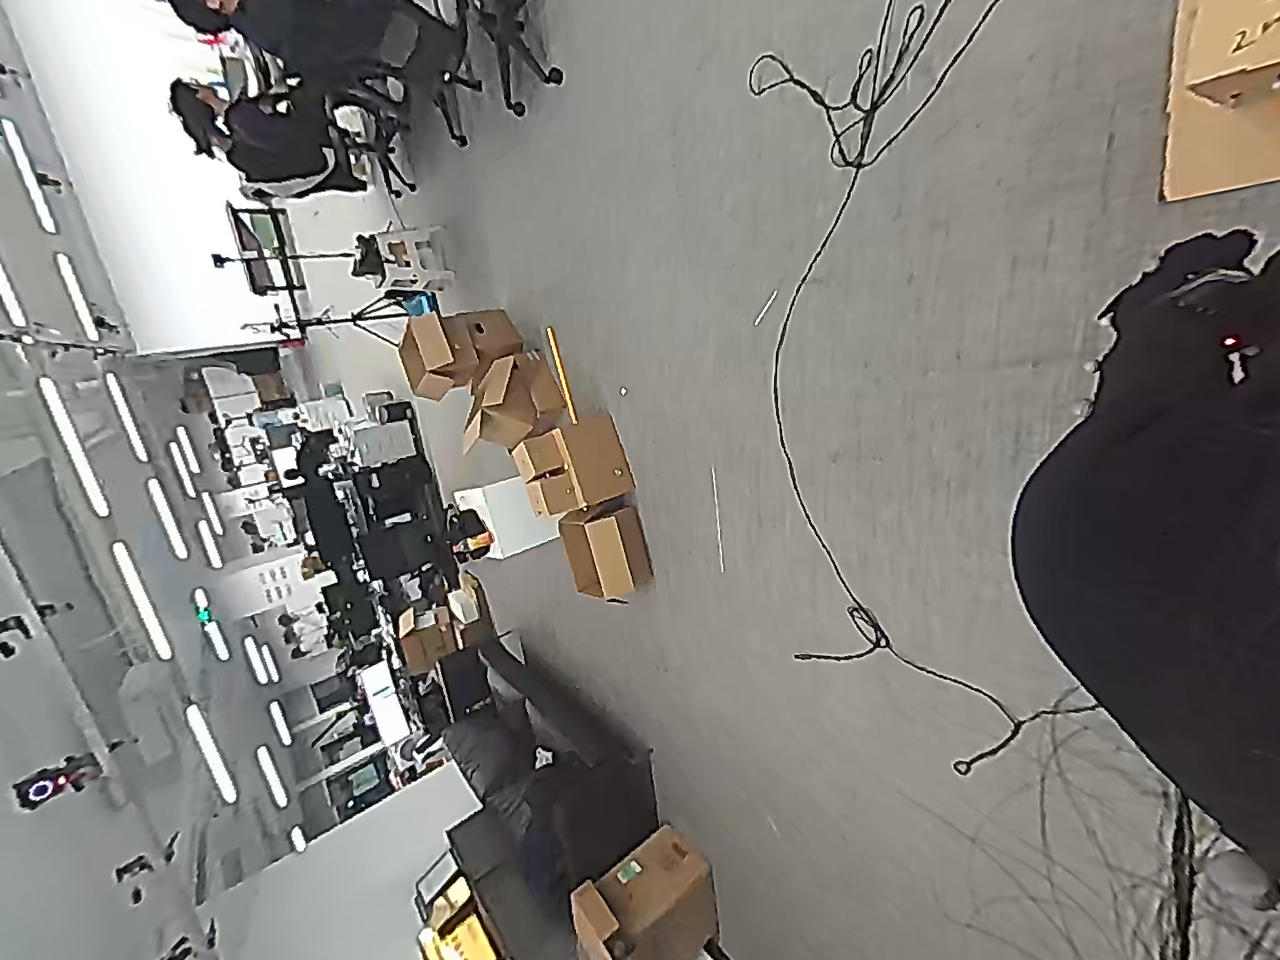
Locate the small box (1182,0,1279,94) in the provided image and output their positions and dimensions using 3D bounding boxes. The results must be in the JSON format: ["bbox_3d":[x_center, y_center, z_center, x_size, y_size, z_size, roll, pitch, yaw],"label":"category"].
[{"bbox_3d":[0.867,-0.649,0.717,0.168,0.176,0.179,17,120,52],"label":"small box"}]
